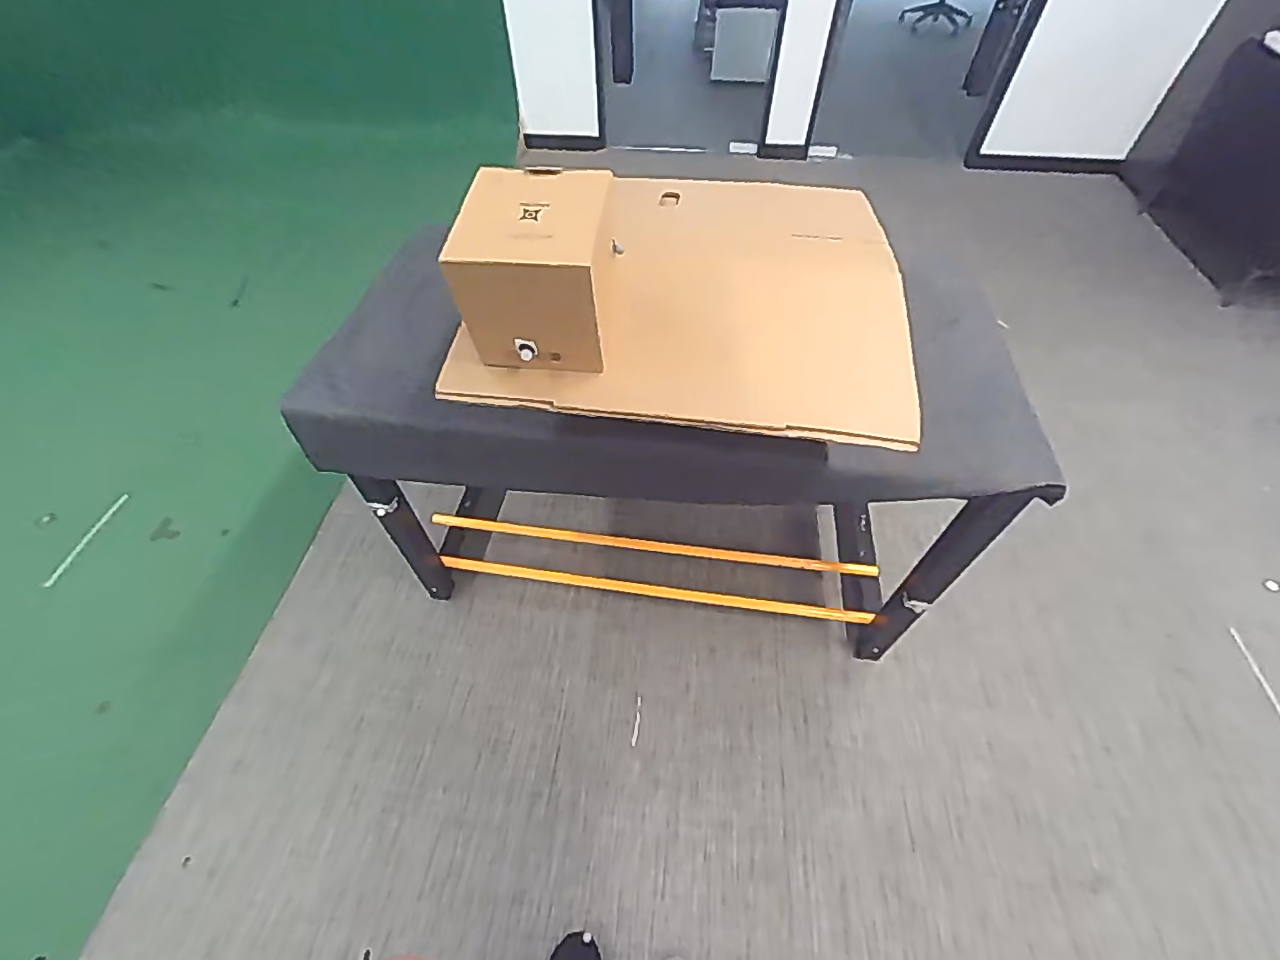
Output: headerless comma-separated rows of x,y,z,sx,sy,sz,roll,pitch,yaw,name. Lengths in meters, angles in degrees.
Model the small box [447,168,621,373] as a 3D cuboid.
-0.117,-0.260,0.682,0.168,0.176,0.179,3,61,5,small box
